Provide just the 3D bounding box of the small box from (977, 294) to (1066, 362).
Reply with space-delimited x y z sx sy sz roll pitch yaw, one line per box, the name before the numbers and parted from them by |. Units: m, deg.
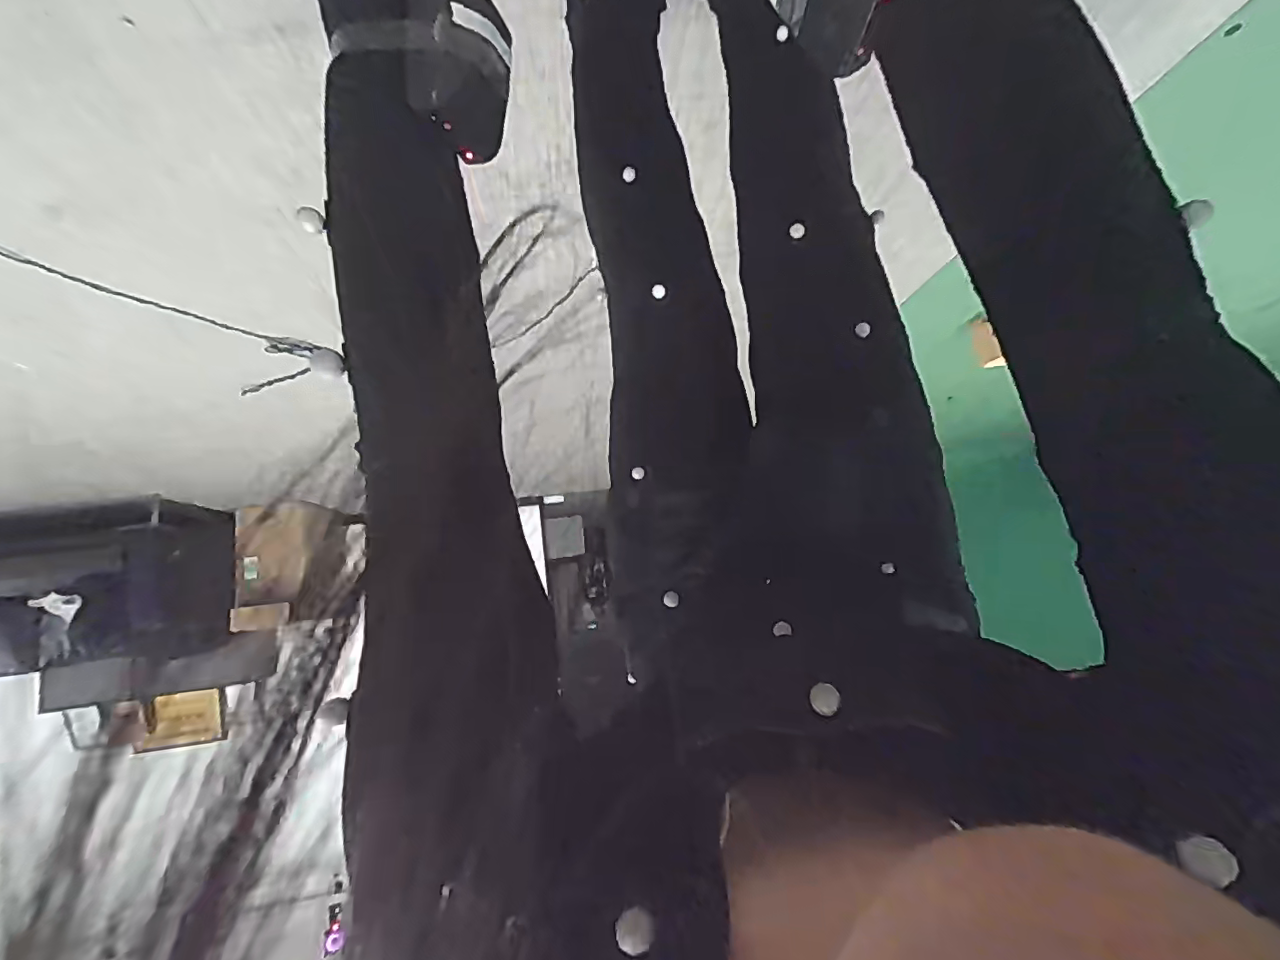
small box | 1.310 -0.526 1.870 0.179 0.176 0.168 -6 171 -9
